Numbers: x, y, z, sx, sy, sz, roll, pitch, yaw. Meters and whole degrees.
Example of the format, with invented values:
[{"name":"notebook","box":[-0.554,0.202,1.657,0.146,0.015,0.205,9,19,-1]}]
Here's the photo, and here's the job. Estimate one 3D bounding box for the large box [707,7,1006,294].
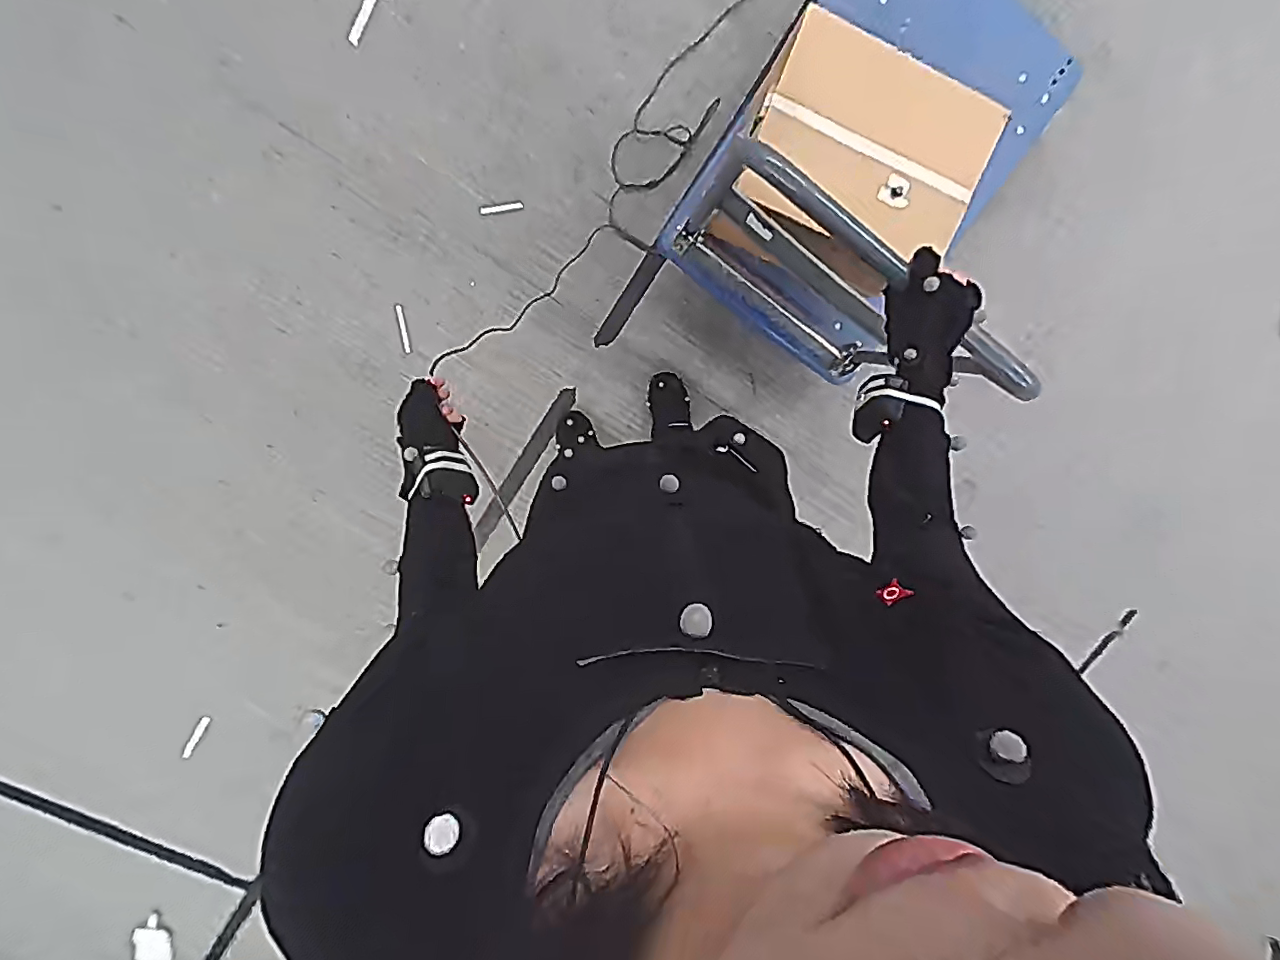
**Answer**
[{"name":"large box","box":[0.395,-0.613,1.091,0.408,0.320,0.320,20,101,-9]}]
